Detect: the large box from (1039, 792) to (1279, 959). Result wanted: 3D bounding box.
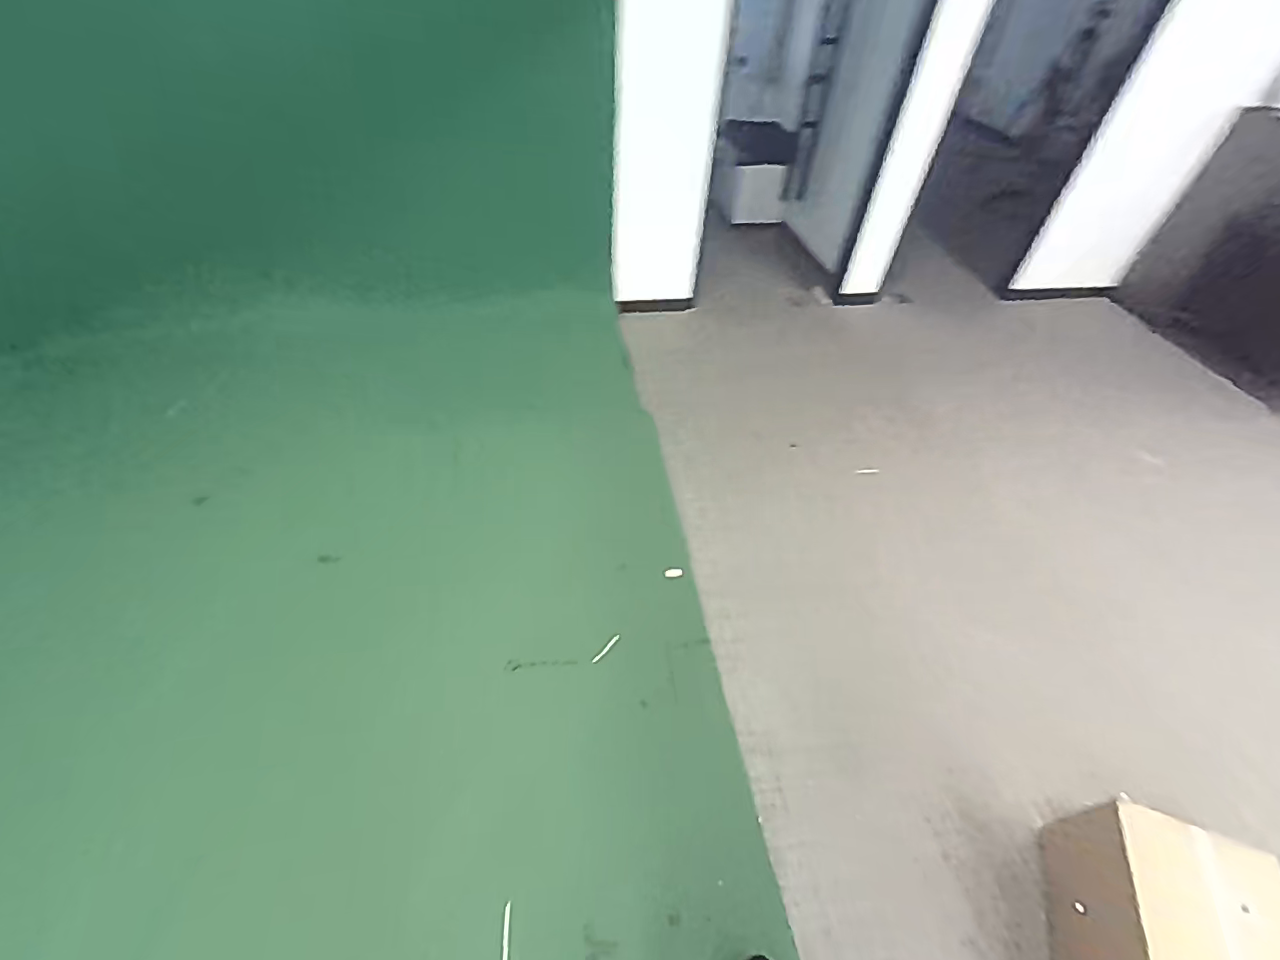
[{"bbox_3d":[1.135,0.989,1.170,0.320,0.320,0.408,17,46,13],"label":"large box"}]
